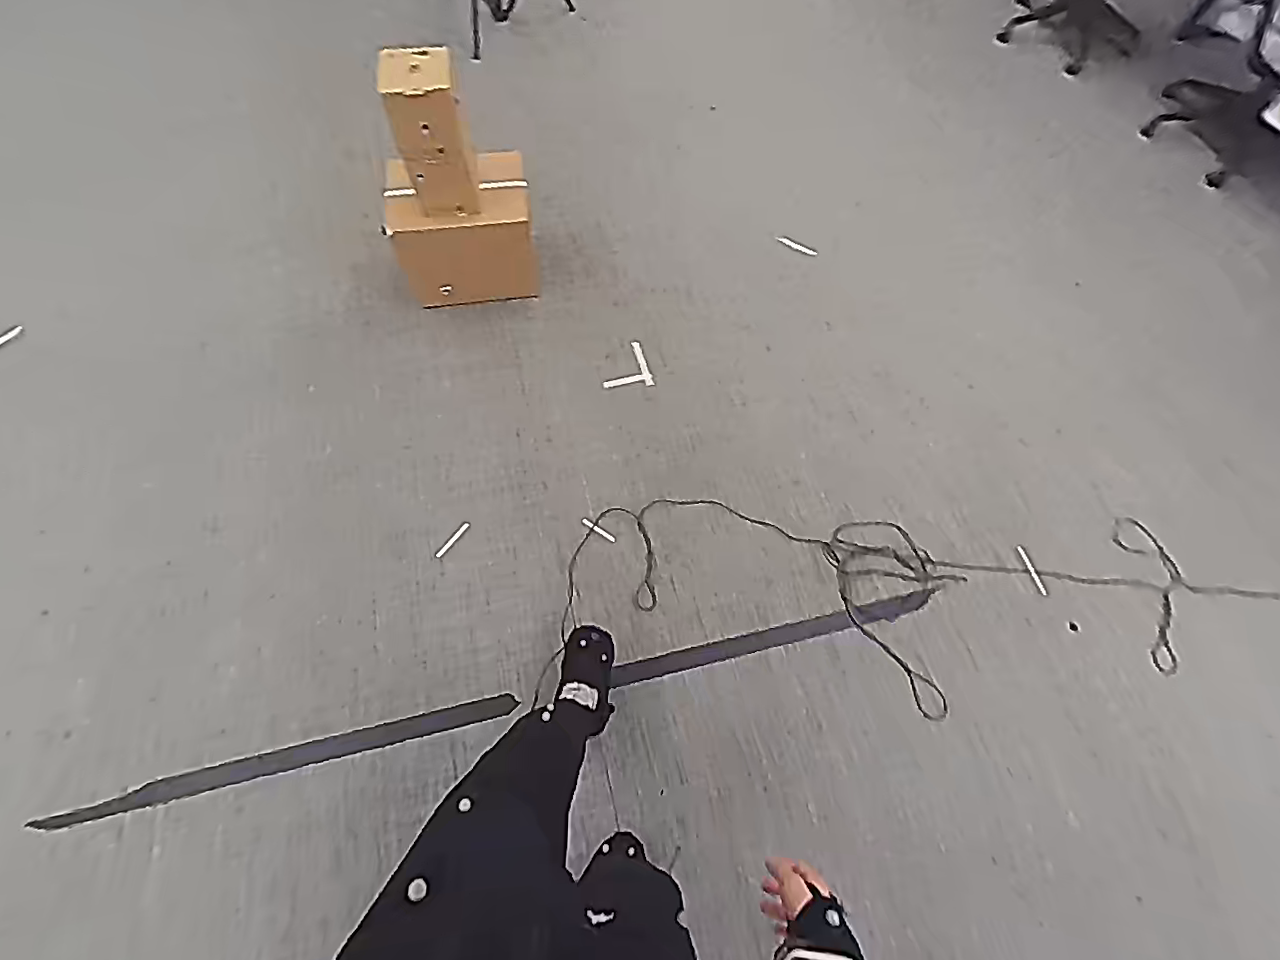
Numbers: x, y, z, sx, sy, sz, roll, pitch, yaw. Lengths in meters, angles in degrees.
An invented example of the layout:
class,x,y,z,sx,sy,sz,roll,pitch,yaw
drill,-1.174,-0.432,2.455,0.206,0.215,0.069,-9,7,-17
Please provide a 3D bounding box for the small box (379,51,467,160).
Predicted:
class,x,y,z,sx,sy,sz,roll,pitch,yaw
small box,-0.542,-0.939,1.369,0.168,0.176,0.179,-7,67,-7
